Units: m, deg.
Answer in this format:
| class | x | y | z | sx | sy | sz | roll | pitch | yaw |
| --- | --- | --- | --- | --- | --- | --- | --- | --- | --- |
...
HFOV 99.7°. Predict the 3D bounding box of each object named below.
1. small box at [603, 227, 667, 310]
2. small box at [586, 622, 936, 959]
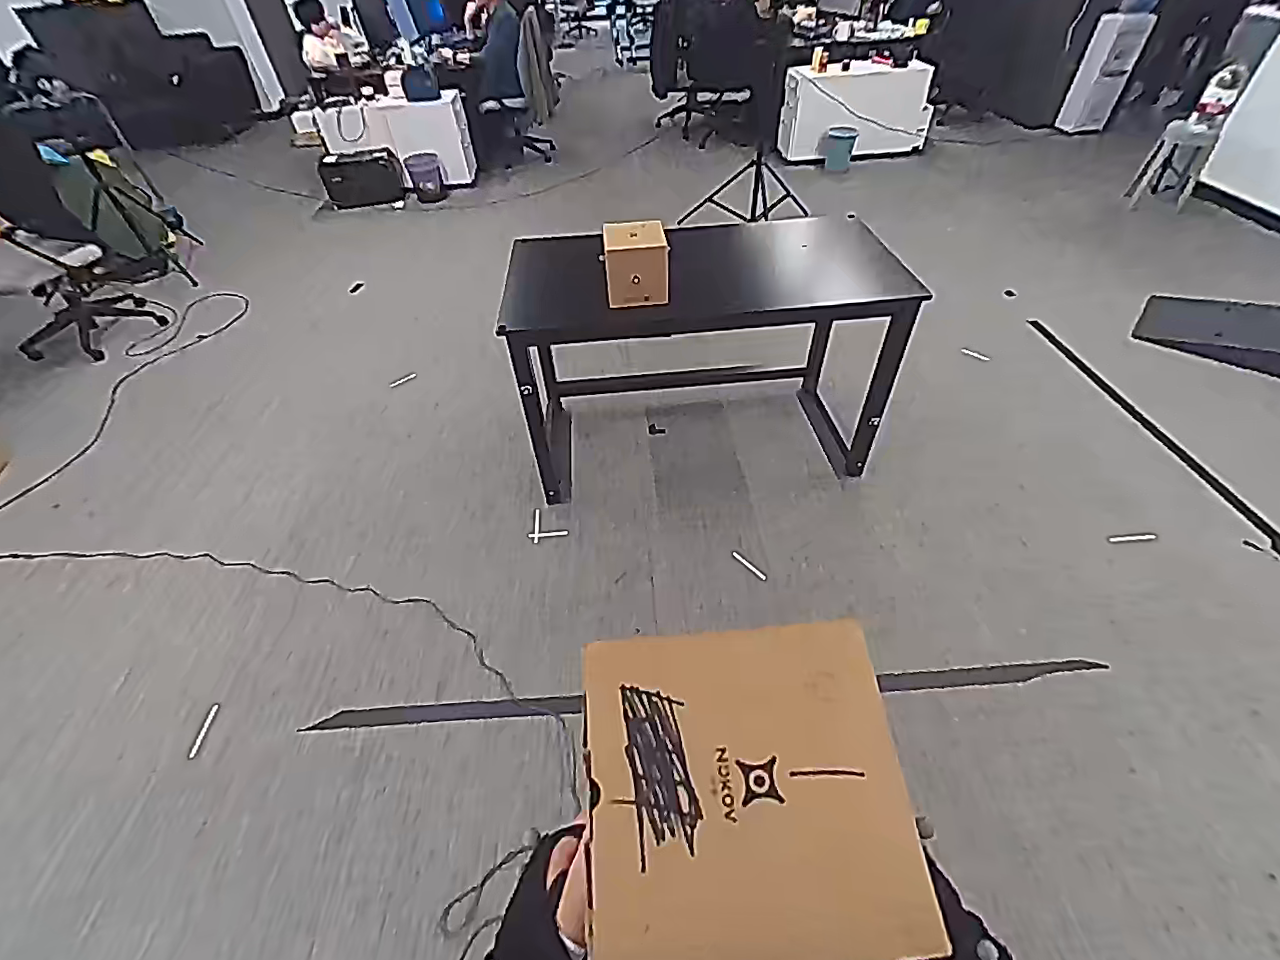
| class | x | y | z | sx | sy | sz | roll | pitch | yaw |
| --- | --- | --- | --- | --- | --- | --- | --- | --- | --- |
| small box | -0.014 | -0.598 | 1.540 | 0.168 | 0.176 | 0.179 | -5 | 45 | -2 |
| small box | 0.061 | 0.208 | 0.378 | 0.179 | 0.176 | 0.168 | -5 | 62 | -1 |
